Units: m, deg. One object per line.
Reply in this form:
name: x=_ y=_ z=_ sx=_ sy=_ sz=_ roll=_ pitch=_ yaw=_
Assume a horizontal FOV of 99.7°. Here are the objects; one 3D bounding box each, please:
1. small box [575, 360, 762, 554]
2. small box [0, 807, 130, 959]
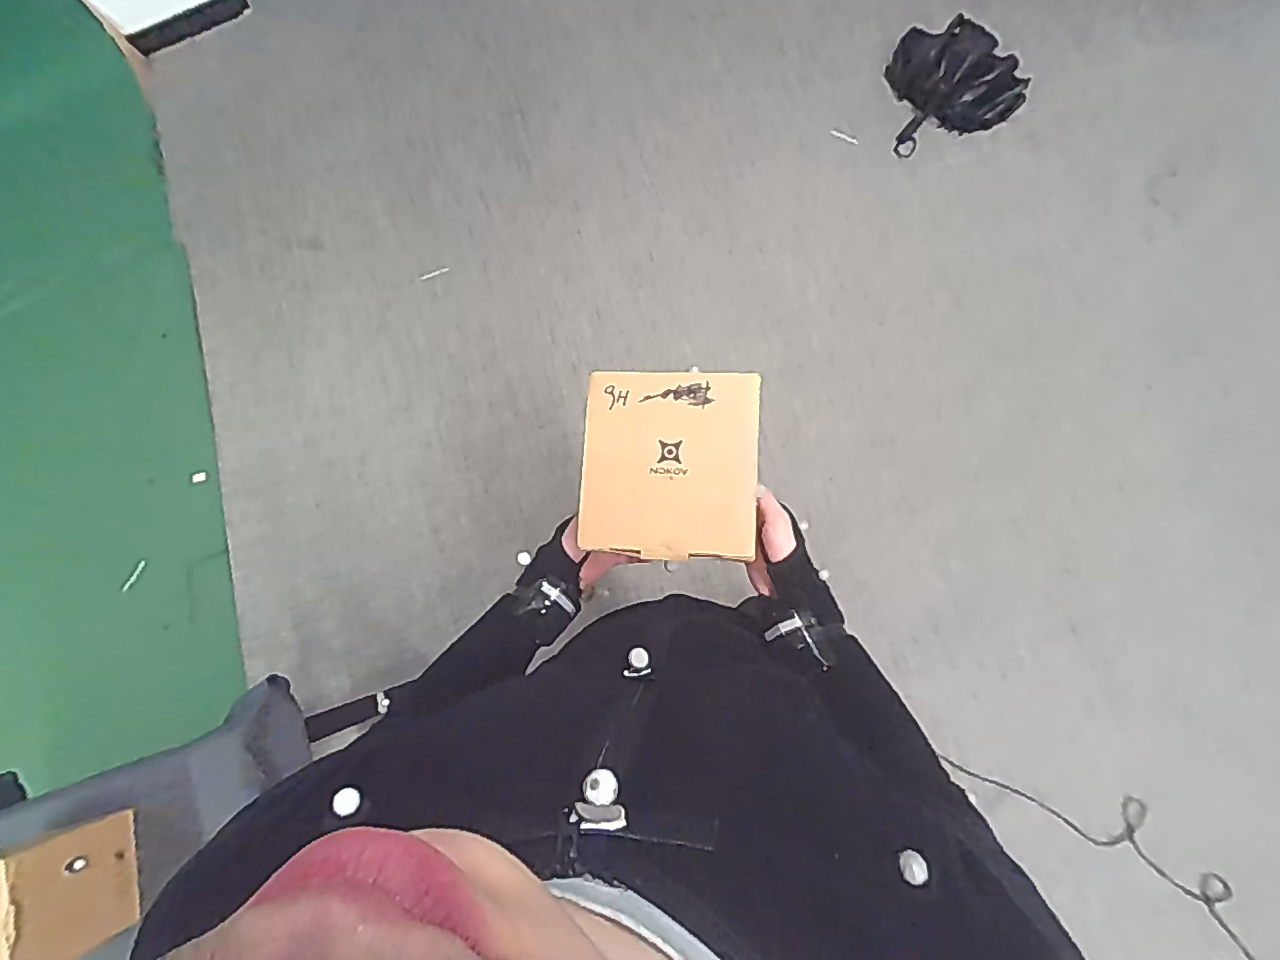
small box: x=0.037 y=-0.015 z=0.574 sx=0.168 sy=0.176 sz=0.179 roll=2 pitch=82 yaw=8
small box: x=-0.893 y=0.606 z=0.785 sx=0.179 sy=0.176 sz=0.168 roll=-17 pitch=76 yaw=5
